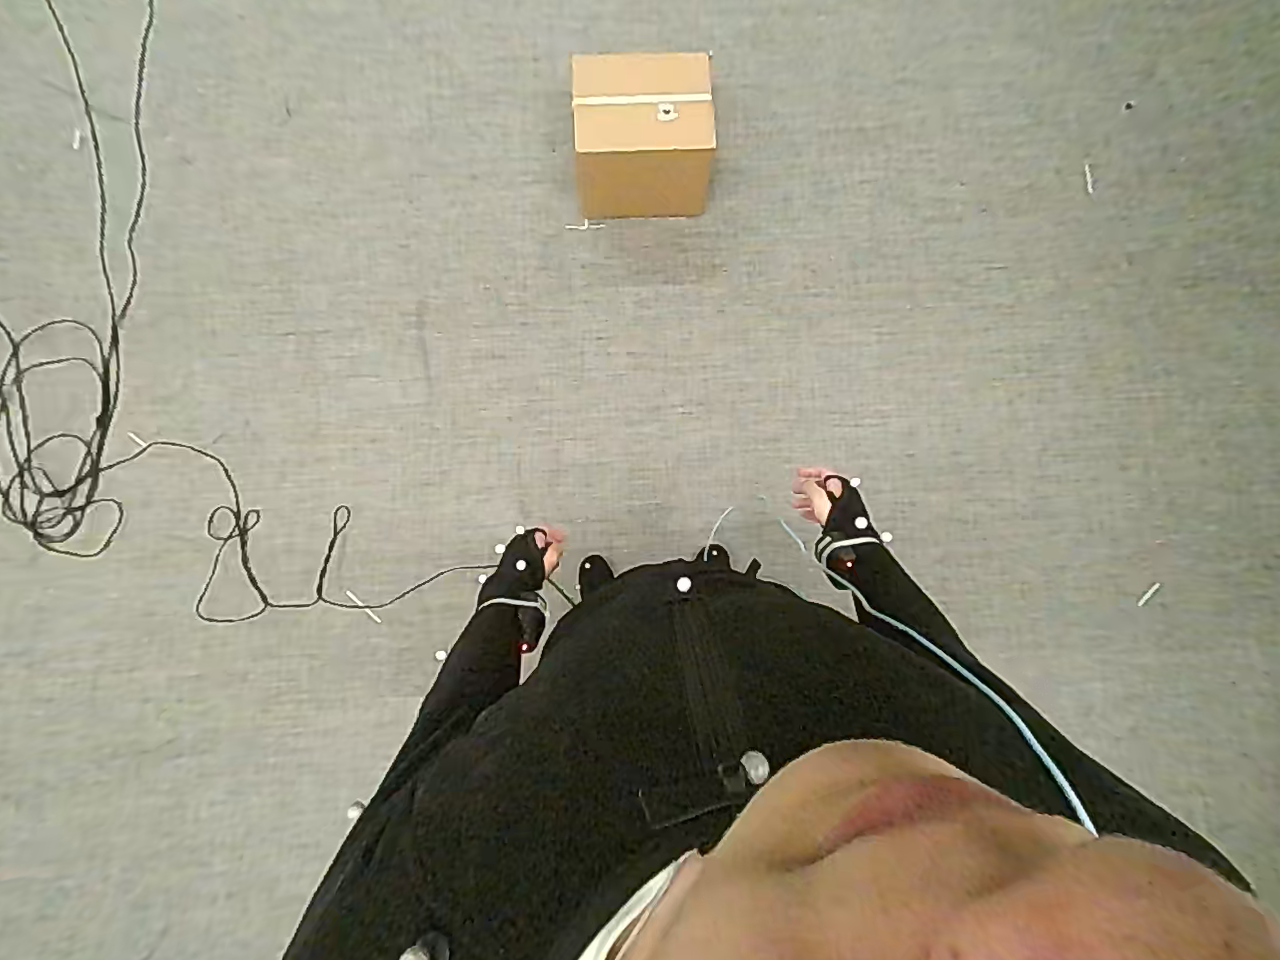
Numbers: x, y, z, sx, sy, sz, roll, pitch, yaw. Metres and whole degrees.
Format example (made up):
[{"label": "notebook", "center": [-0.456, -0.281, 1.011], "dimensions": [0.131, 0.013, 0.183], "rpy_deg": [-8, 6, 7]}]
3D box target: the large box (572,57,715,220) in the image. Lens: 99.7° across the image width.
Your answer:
[{"label": "large box", "center": [0.003, -1.057, 1.703], "dimensions": [0.408, 0.320, 0.320], "rpy_deg": [-3, 82, -2]}]
